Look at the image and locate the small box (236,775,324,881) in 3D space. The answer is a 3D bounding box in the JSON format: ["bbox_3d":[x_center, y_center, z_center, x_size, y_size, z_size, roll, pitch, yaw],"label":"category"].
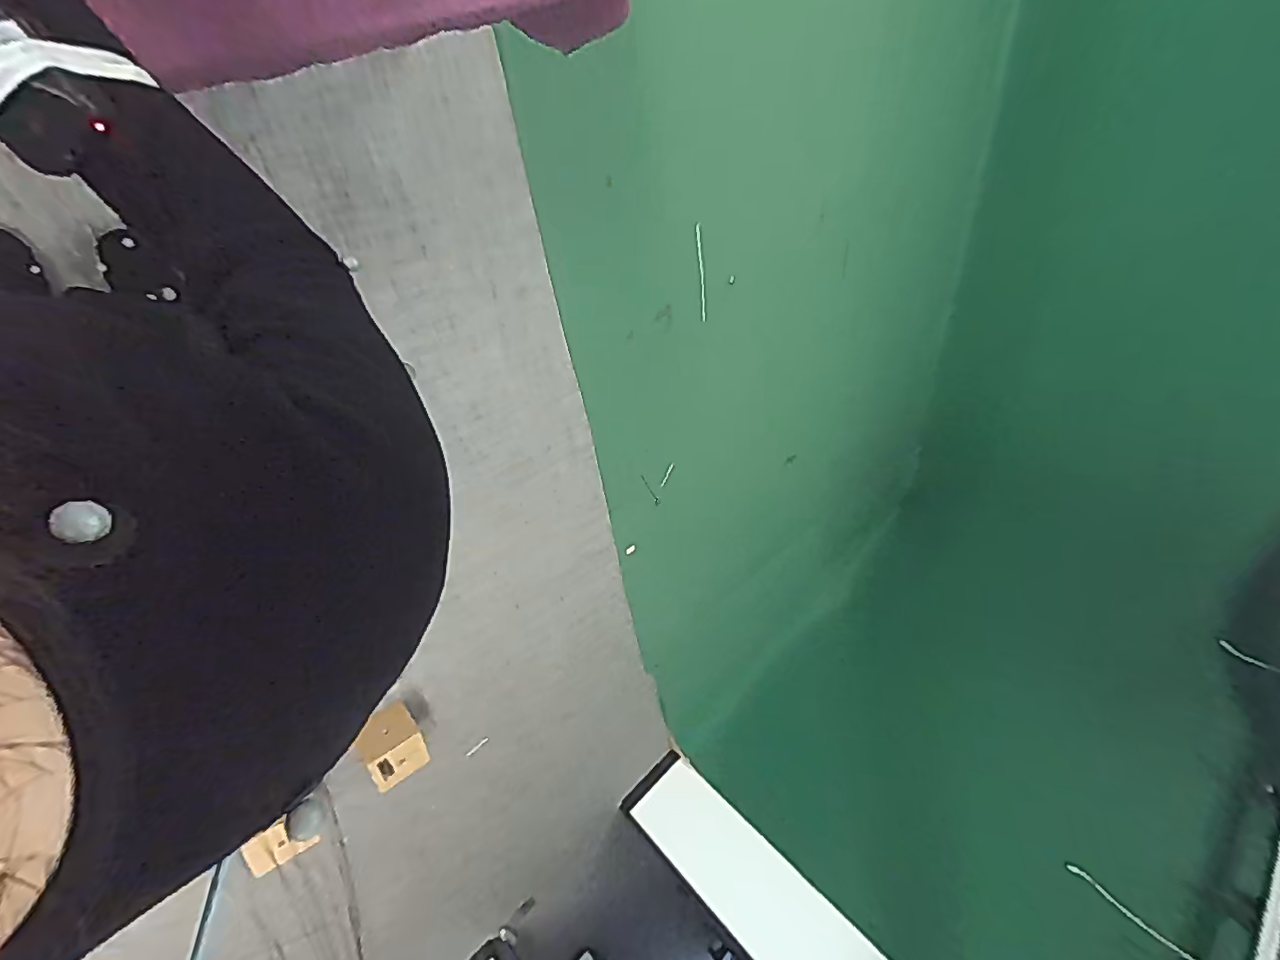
[{"bbox_3d":[-1.095,1.050,1.647,0.179,0.176,0.168,-18,124,-37],"label":"small box"}]
